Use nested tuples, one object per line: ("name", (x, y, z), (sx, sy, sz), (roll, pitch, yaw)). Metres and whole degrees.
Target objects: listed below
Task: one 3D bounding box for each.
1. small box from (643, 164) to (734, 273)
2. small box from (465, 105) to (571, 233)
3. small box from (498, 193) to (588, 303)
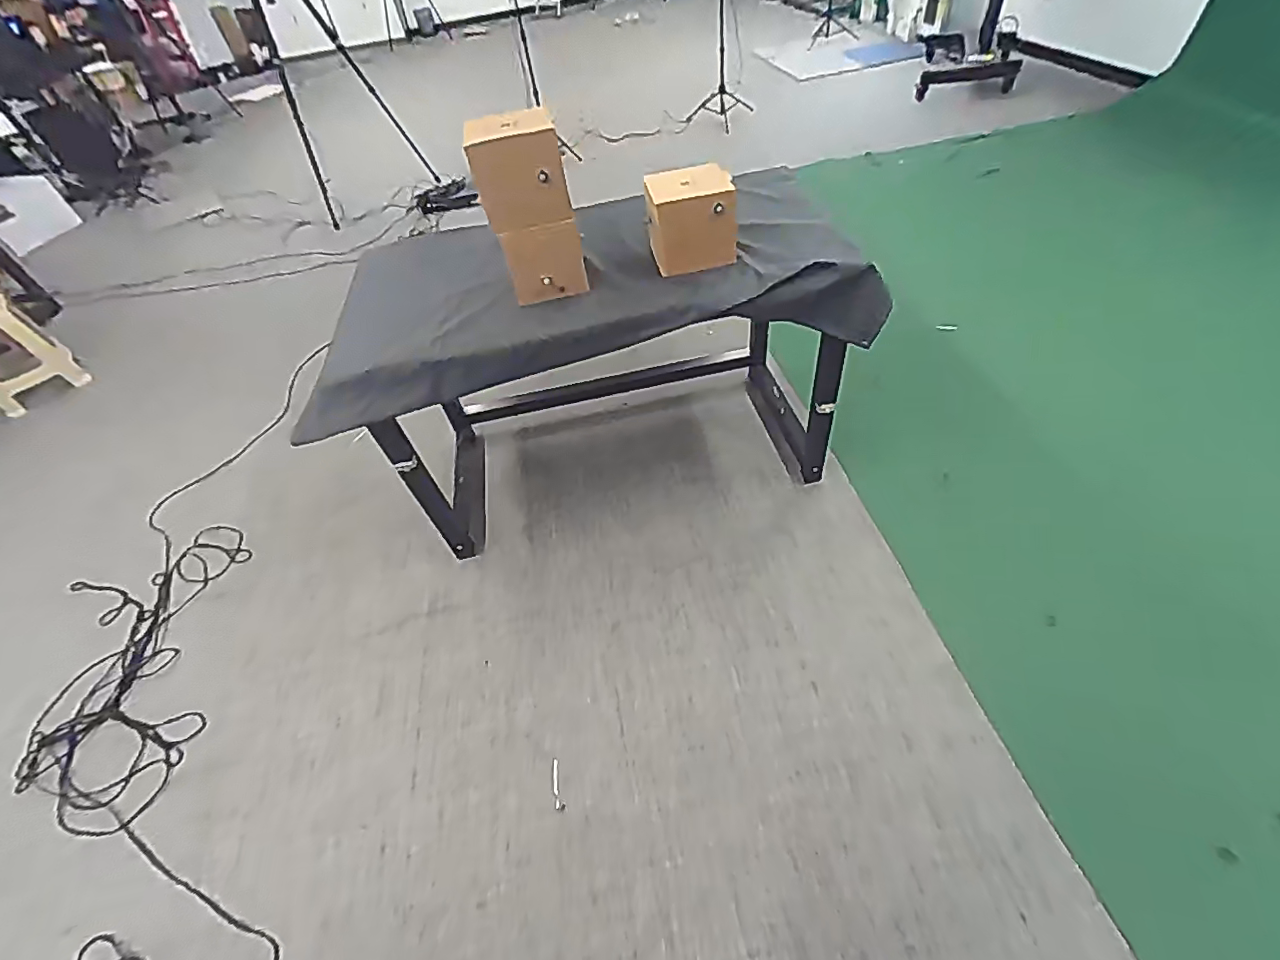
("small box", (0.112, -0.595, 1.239), (0.179, 0.176, 0.168), (-11, 48, -1))
("small box", (-0.245, -0.636, 1.111), (0.179, 0.176, 0.168), (-14, 48, -2))
("small box", (-0.220, -0.532, 1.234), (0.168, 0.176, 0.179), (-13, 49, -2))
